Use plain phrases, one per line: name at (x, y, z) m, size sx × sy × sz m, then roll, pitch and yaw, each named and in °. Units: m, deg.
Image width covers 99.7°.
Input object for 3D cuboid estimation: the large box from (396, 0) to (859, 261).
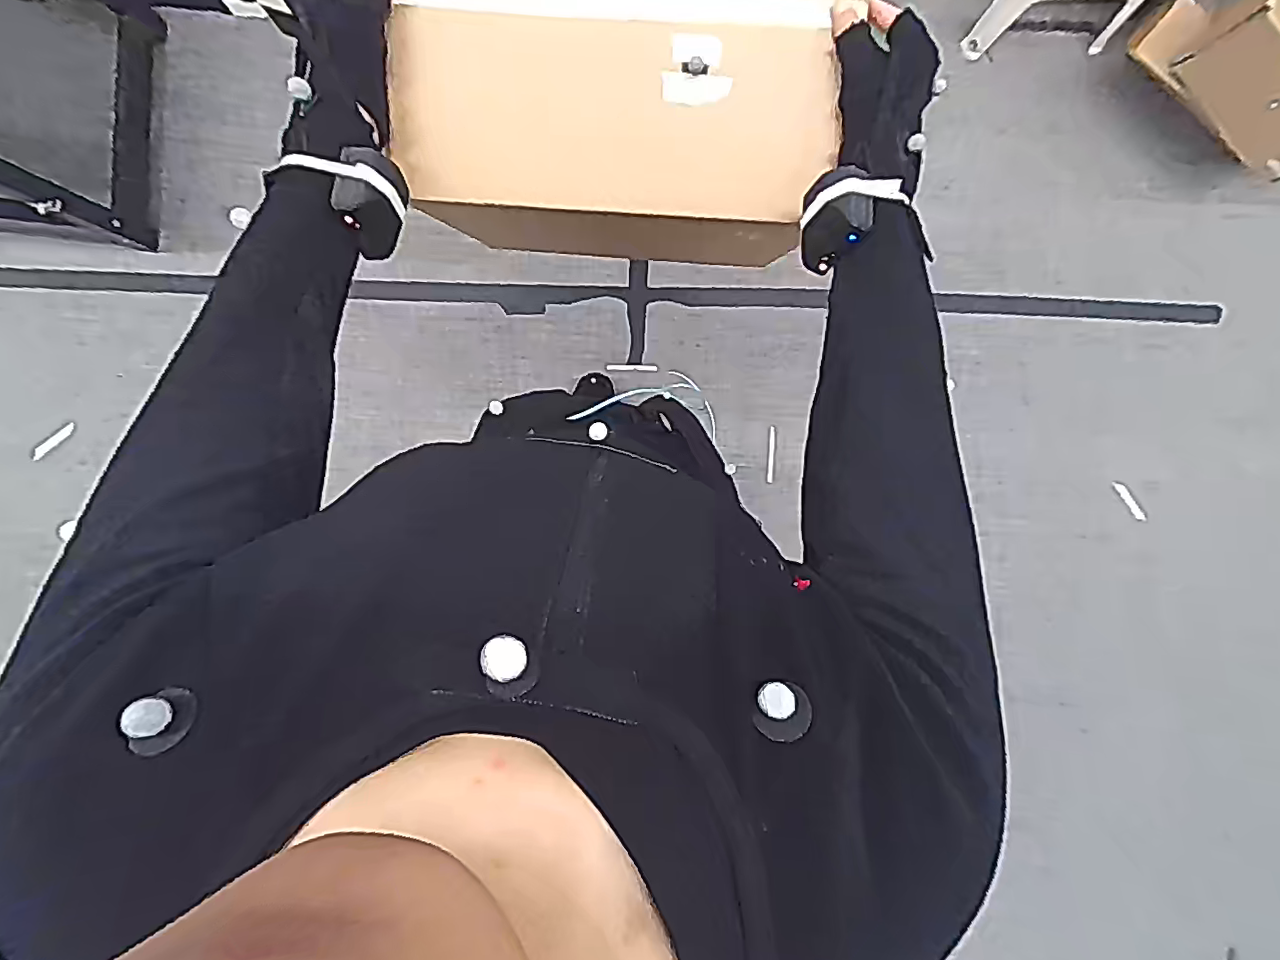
large box at (-0.012, -0.437, 0.606) m, size 0.408 × 0.320 × 0.320 m, roll 3°, pitch 106°, yaw 0°
